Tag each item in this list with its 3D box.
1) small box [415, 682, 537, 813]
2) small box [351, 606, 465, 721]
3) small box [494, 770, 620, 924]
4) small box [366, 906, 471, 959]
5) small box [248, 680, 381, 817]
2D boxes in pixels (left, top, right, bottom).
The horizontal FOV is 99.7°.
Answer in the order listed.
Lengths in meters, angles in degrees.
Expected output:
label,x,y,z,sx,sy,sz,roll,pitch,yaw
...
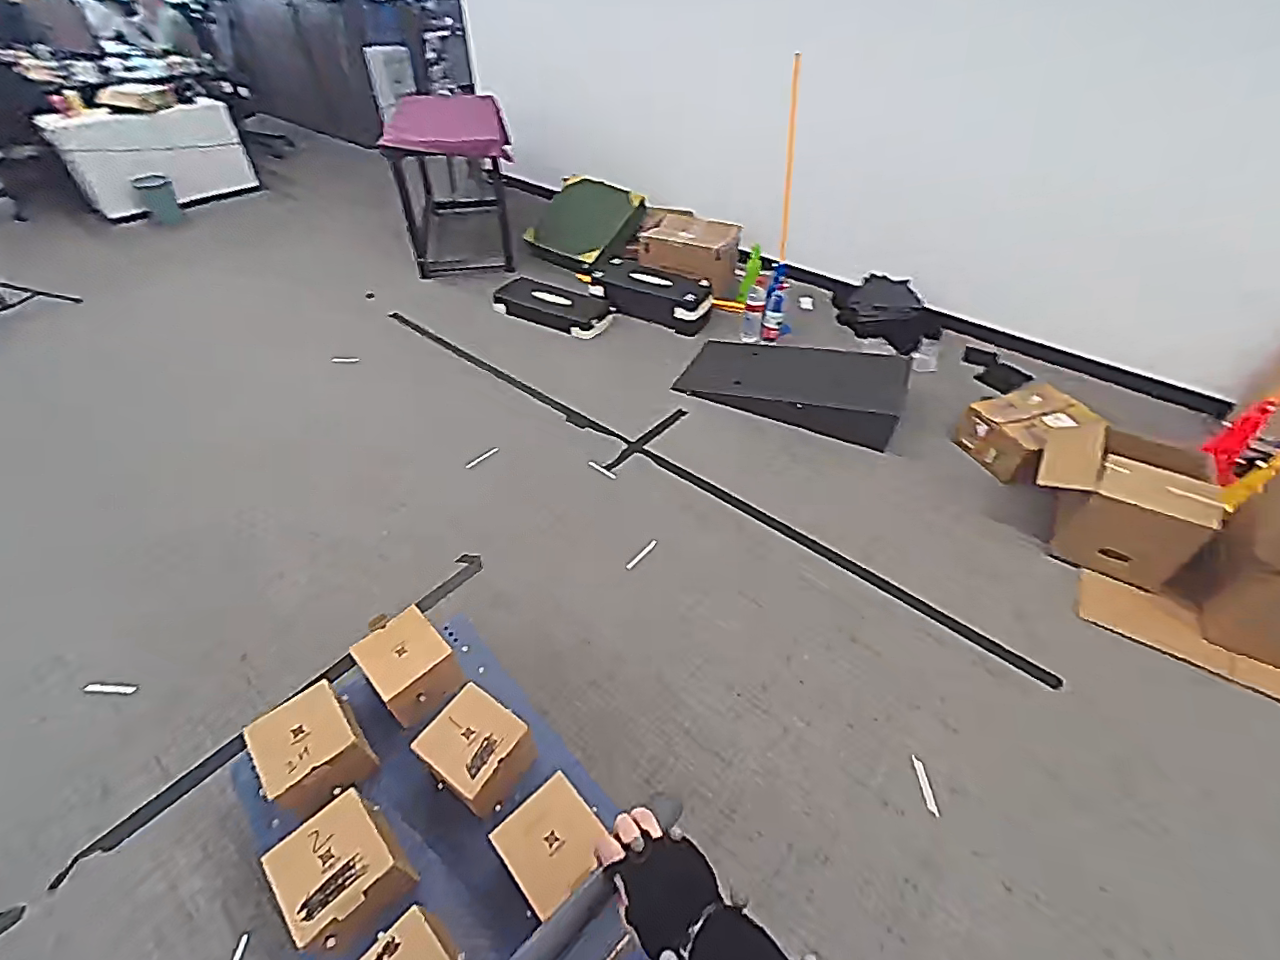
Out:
label,x,y,z,sx,sy,sz,roll,pitch,yaw
small box,-0.341,0.577,1.157,0.179,0.176,0.168,26,50,23
small box,-0.541,0.443,1.284,0.179,0.176,0.168,34,54,28
small box,-0.153,0.707,1.037,0.168,0.176,0.179,-33,54,-30
small box,-0.364,0.851,0.884,0.179,0.176,0.168,34,52,27
small box,-0.683,0.571,1.147,0.168,0.176,0.179,-32,55,-29
